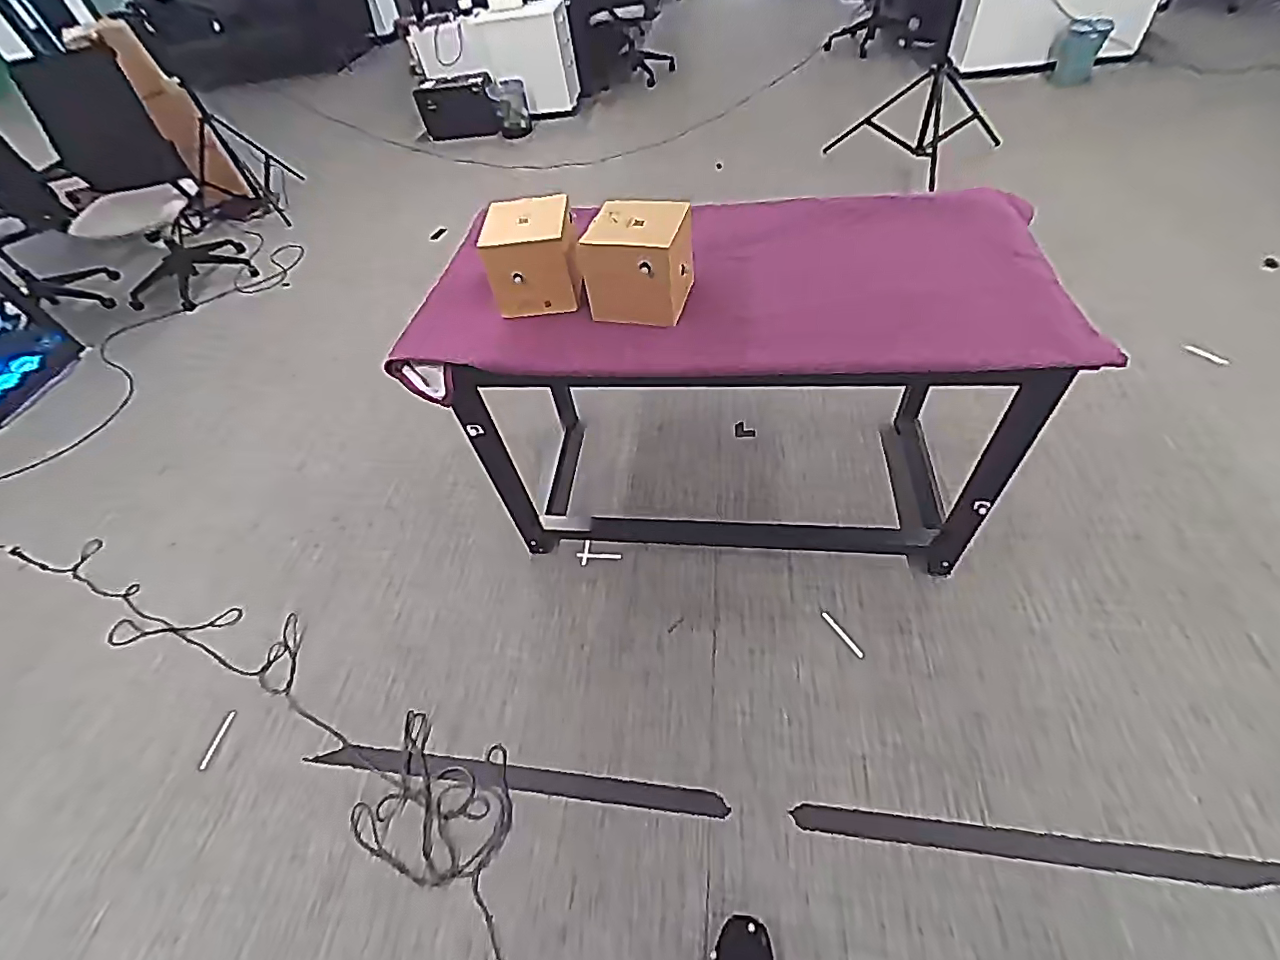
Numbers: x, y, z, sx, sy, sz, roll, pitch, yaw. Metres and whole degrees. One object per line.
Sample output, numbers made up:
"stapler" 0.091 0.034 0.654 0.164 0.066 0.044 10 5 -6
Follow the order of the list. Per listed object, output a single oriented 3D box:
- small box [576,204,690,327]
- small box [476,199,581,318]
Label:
"small box" -0.003 -0.422 1.071 0.179 0.176 0.168 9 53 16
"small box" -0.224 -0.457 1.136 0.168 0.176 0.179 -5 51 5
